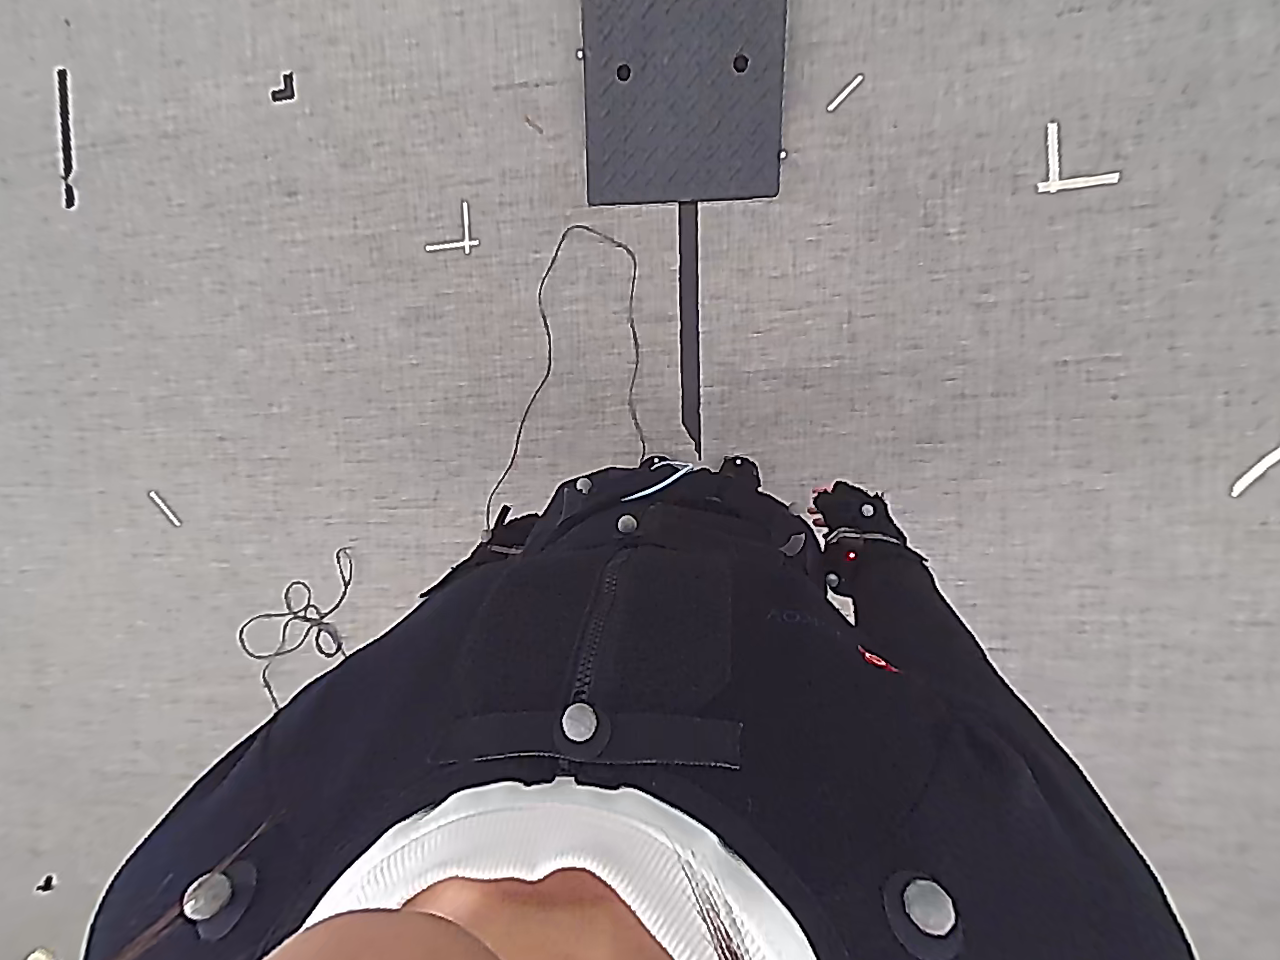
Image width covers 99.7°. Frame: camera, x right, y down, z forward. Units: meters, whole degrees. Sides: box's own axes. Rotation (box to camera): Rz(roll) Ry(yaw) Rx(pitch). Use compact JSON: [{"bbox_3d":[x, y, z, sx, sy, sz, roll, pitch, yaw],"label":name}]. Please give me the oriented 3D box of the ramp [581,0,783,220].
[{"bbox_3d":[0.098,-1.185,1.311,0.509,0.206,0.991,-2,92,7],"label":"ramp"}]
